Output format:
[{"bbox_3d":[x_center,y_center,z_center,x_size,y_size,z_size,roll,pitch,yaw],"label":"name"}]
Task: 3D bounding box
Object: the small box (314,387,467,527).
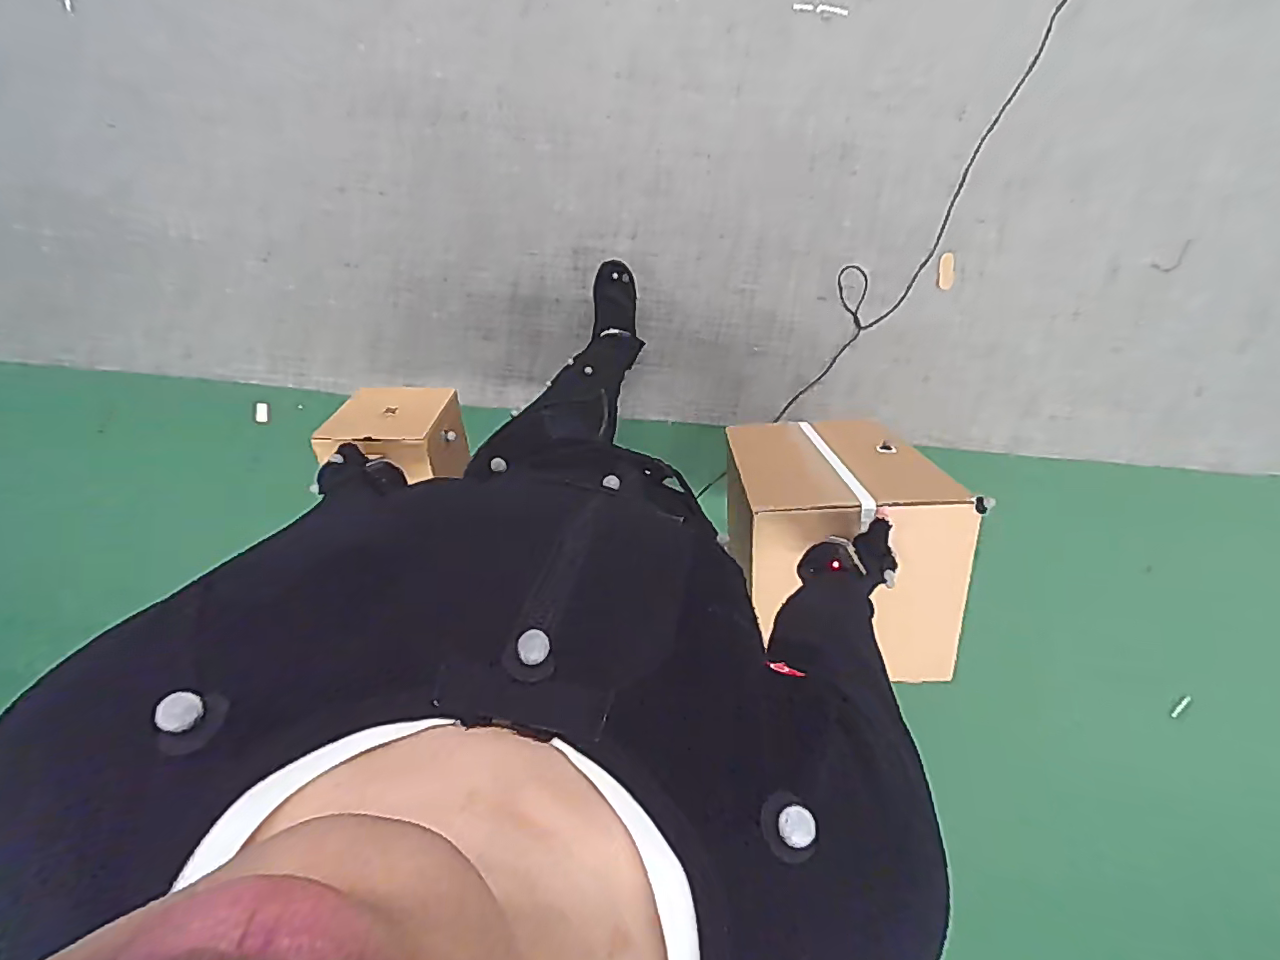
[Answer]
[{"bbox_3d":[-0.399,-0.041,0.902,0.168,0.179,0.176,0,126,-1],"label":"small box"}]
